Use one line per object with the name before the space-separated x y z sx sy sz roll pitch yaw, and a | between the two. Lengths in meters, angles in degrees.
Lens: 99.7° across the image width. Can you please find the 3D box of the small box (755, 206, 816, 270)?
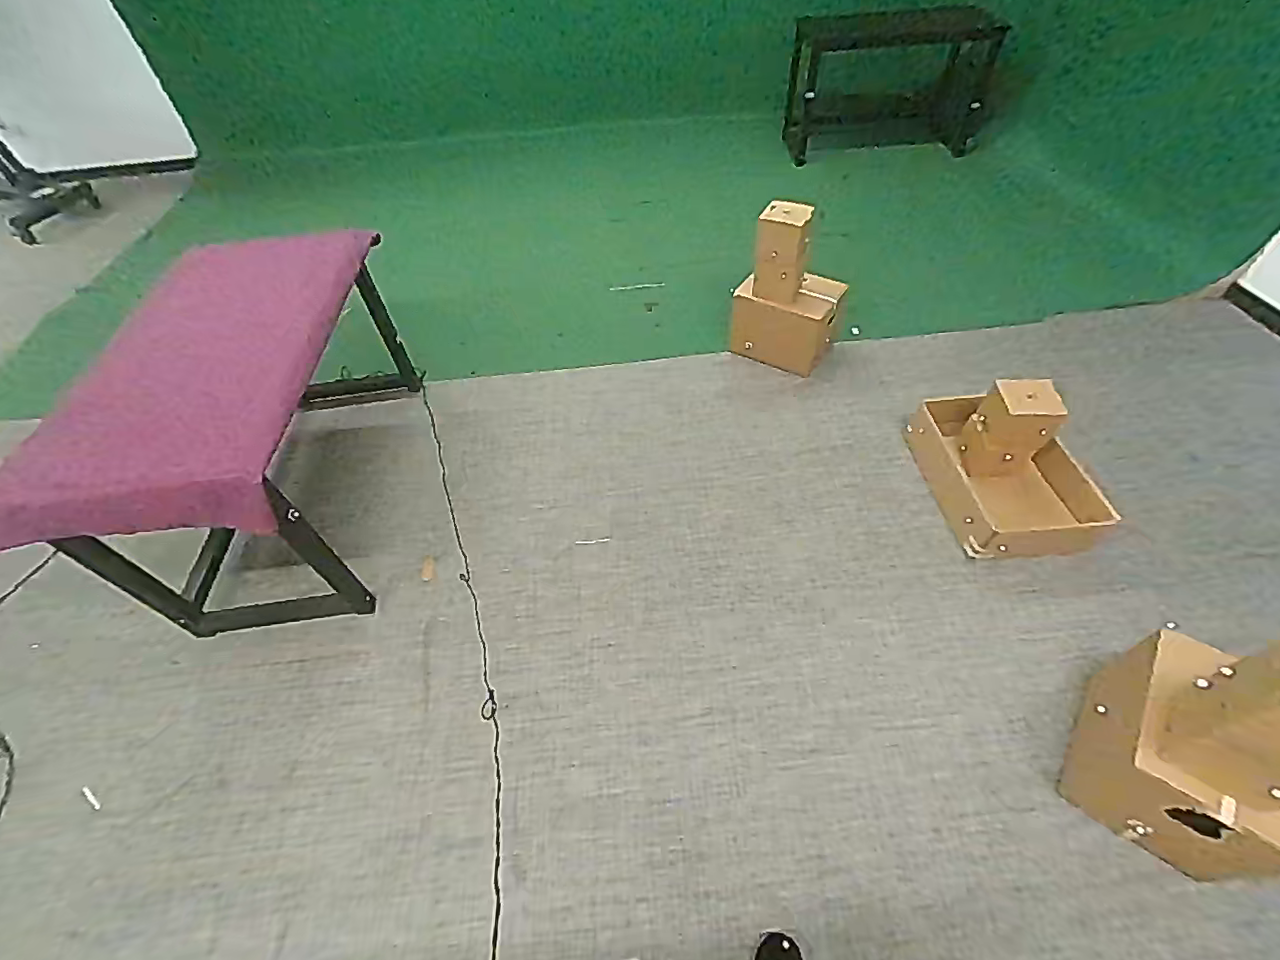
small box | 0.580 -0.968 2.171 0.179 0.176 0.168 22 55 20

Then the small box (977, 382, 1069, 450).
small box | 1.288 -0.215 1.833 0.179 0.176 0.168 1 53 6

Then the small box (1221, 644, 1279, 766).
small box | 1.202 0.419 0.959 0.179 0.176 0.168 31 58 26

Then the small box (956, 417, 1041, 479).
small box | 1.293 -0.116 1.963 0.179 0.176 0.168 -3 53 3

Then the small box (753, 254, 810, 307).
small box | 0.598 -0.860 2.293 0.179 0.176 0.168 21 55 20

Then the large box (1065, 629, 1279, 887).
large box | 1.299 0.655 1.290 0.320 0.320 0.408 30 57 25
